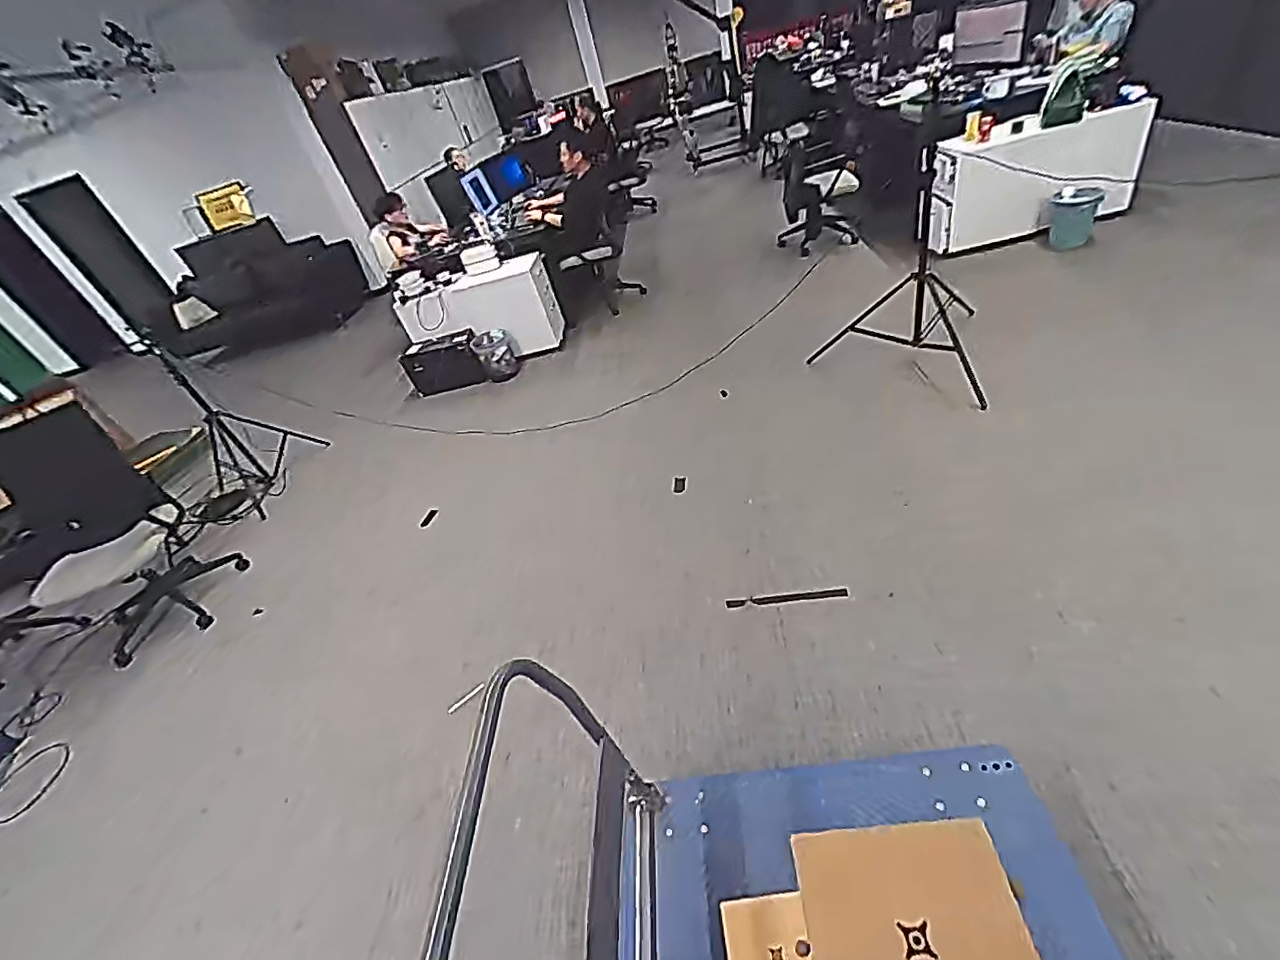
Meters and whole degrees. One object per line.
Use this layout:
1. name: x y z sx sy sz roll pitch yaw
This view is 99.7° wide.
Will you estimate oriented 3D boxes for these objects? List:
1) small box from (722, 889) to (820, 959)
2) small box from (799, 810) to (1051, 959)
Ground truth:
1. small box: 0.245 0.845 0.934 0.168 0.176 0.179 -13 38 6
2. small box: 0.242 0.412 0.467 0.168 0.176 0.179 -13 44 12
